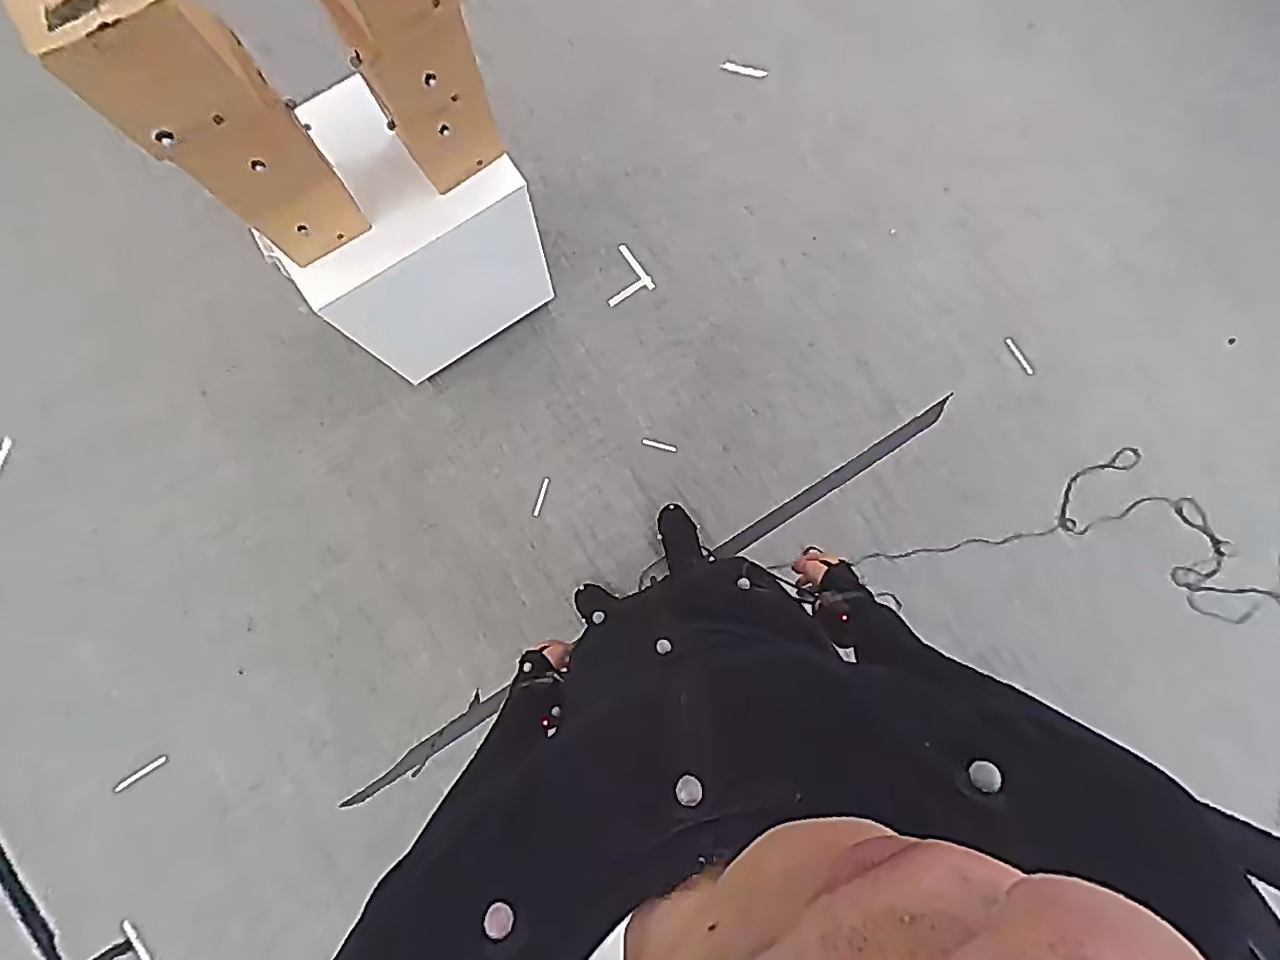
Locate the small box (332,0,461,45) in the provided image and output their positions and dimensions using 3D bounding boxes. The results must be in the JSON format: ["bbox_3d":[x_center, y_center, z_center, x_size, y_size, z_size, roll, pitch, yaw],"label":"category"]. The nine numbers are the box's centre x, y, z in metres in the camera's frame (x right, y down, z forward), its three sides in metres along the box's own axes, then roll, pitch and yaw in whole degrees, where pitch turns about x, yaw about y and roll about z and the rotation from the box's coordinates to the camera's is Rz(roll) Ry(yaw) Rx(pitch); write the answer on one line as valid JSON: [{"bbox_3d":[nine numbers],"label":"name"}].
[{"bbox_3d":[-0.363,-0.734,0.716,0.168,0.176,0.179,-41,87,-5],"label":"small box"}]

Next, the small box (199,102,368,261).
[{"bbox_3d":[-0.654,-0.543,1.018,0.168,0.176,0.179,-34,87,-6],"label":"small box"}]

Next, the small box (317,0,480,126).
[{"bbox_3d":[-0.388,-0.721,0.877,0.168,0.176,0.179,-36,87,-5],"label":"small box"}]

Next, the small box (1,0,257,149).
[{"bbox_3d":[-0.644,-0.566,0.690,0.168,0.176,0.179,-31,86,-5],"label":"small box"}]

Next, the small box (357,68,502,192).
[{"bbox_3d":[-0.394,-0.707,1.042,0.168,0.176,0.179,-37,87,-4],"label":"small box"}]
